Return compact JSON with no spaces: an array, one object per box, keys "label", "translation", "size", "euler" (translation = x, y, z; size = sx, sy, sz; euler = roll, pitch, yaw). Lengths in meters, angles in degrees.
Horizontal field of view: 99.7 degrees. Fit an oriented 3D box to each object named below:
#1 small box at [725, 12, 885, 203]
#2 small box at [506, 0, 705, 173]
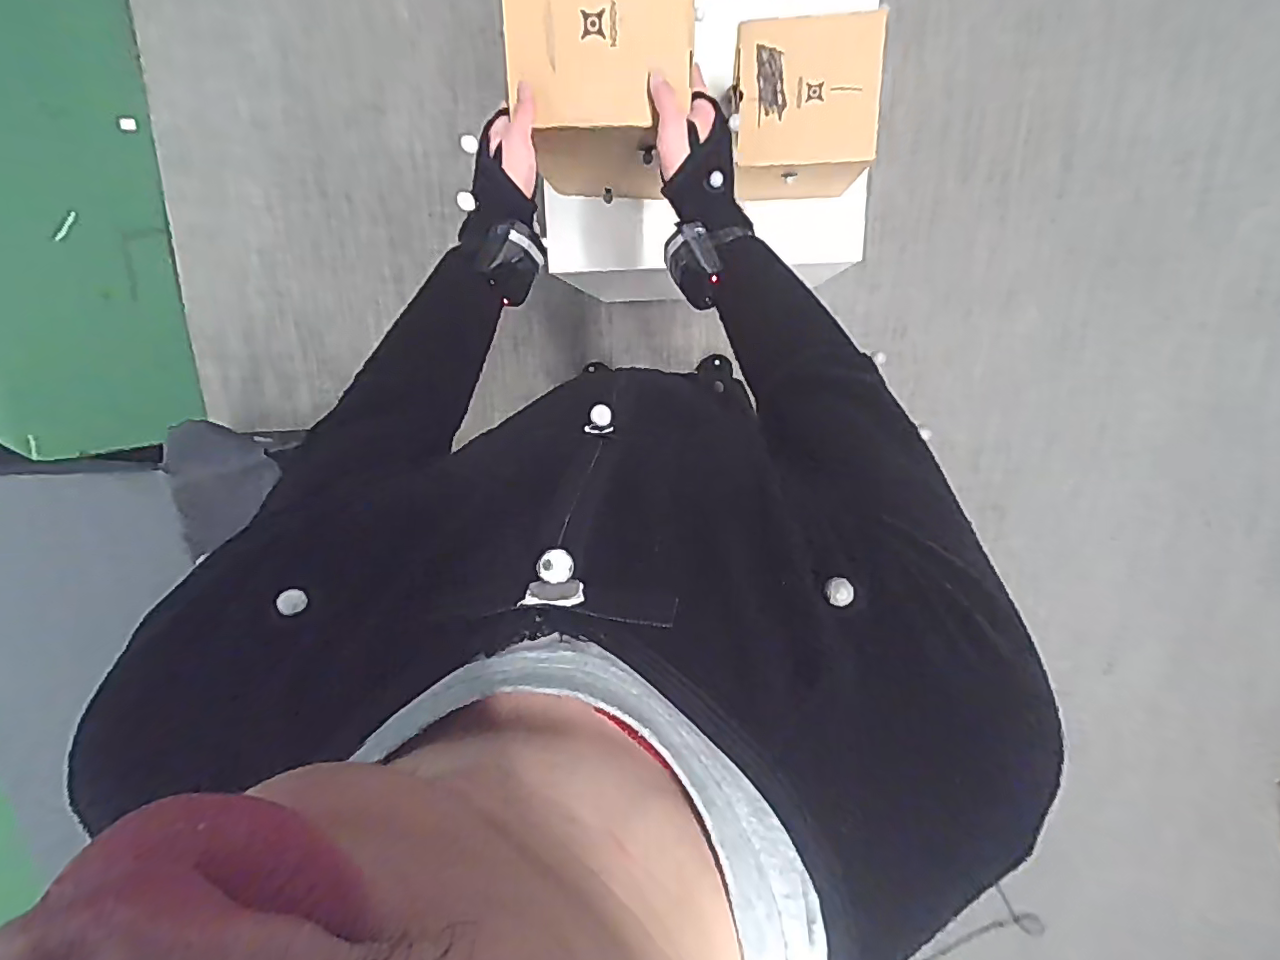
[{"label":"small box","translation":[0.210,-0.491,0.740],"size":[0.179,0.176,0.168],"euler":[0,103,3]},{"label":"small box","translation":[-0.030,-0.426,0.550],"size":[0.179,0.176,0.168],"euler":[-2,106,1]}]
